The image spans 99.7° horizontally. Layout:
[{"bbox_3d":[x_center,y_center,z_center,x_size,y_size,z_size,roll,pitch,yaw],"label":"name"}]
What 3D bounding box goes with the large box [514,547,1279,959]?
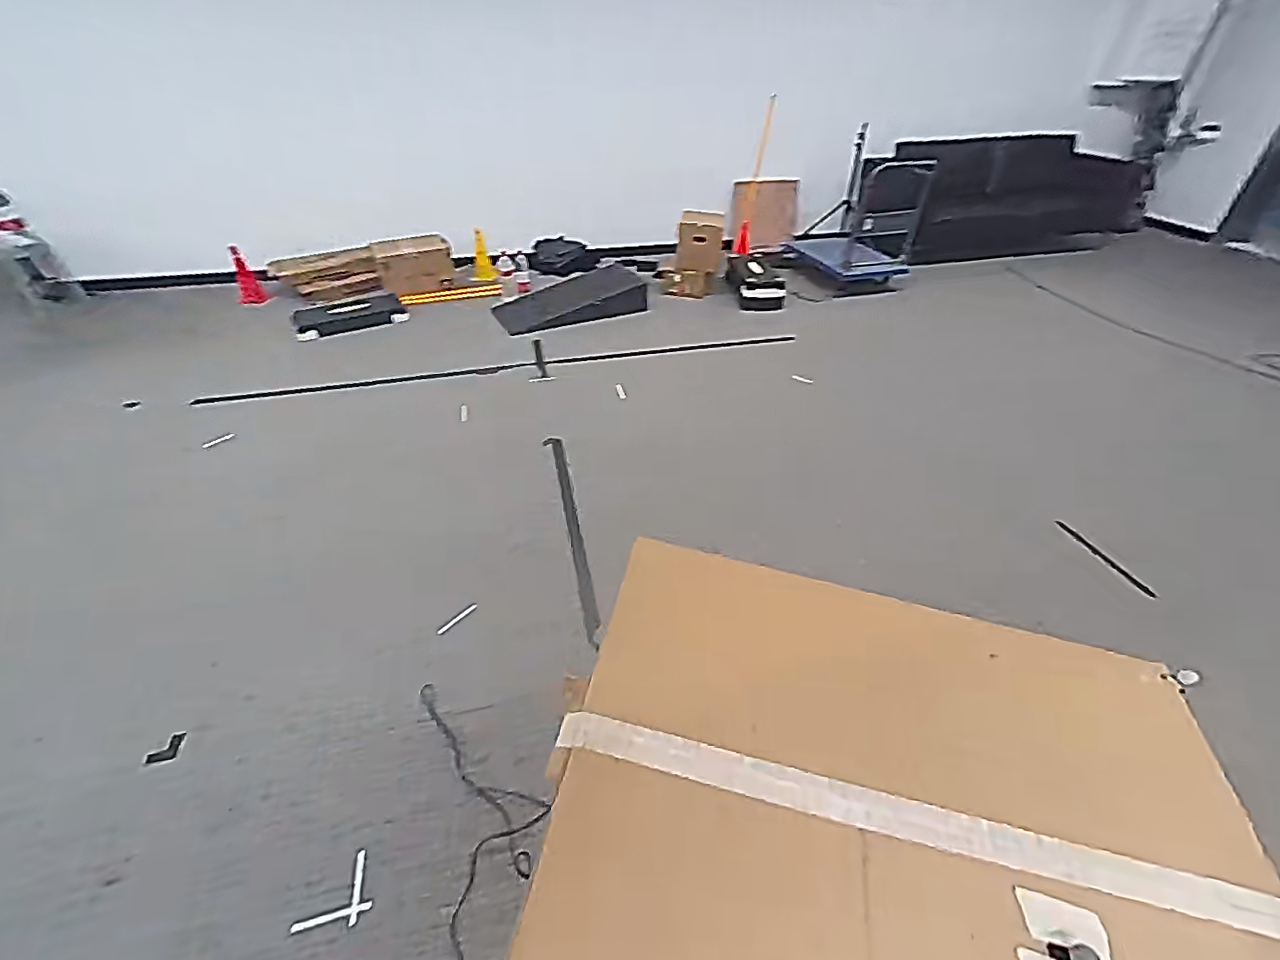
[{"bbox_3d":[0.134,0.303,0.422,0.408,0.320,0.320,14,45,3],"label":"large box"}]
